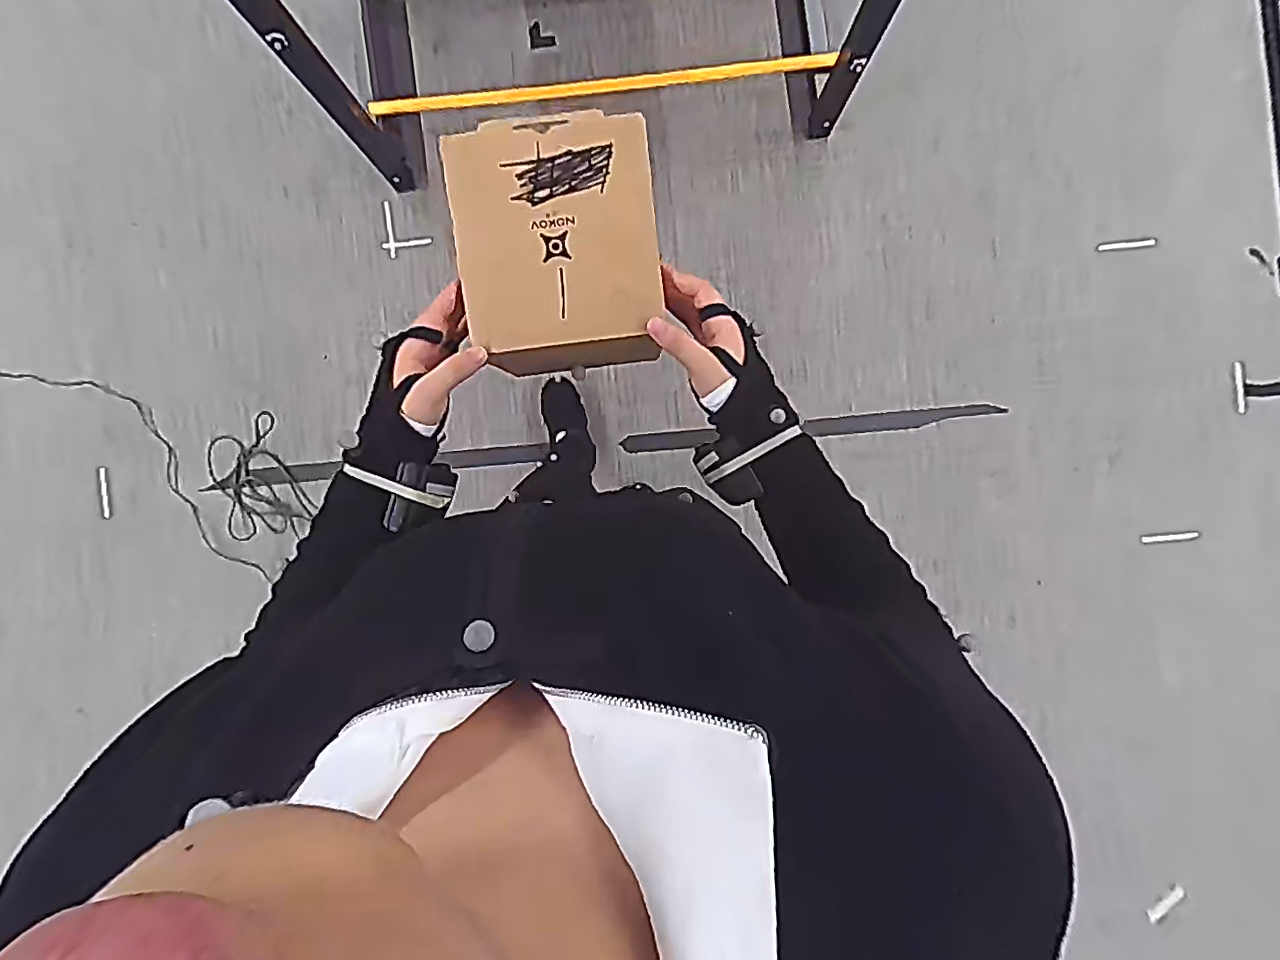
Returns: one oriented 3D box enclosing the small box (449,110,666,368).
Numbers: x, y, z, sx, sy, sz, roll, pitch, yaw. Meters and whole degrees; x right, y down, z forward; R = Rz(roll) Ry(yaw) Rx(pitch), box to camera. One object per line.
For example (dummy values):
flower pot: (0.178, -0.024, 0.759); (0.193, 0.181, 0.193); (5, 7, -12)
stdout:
small box: (-0.069, -0.215, 0.527); (0.168, 0.176, 0.179); (-7, 95, 0)
